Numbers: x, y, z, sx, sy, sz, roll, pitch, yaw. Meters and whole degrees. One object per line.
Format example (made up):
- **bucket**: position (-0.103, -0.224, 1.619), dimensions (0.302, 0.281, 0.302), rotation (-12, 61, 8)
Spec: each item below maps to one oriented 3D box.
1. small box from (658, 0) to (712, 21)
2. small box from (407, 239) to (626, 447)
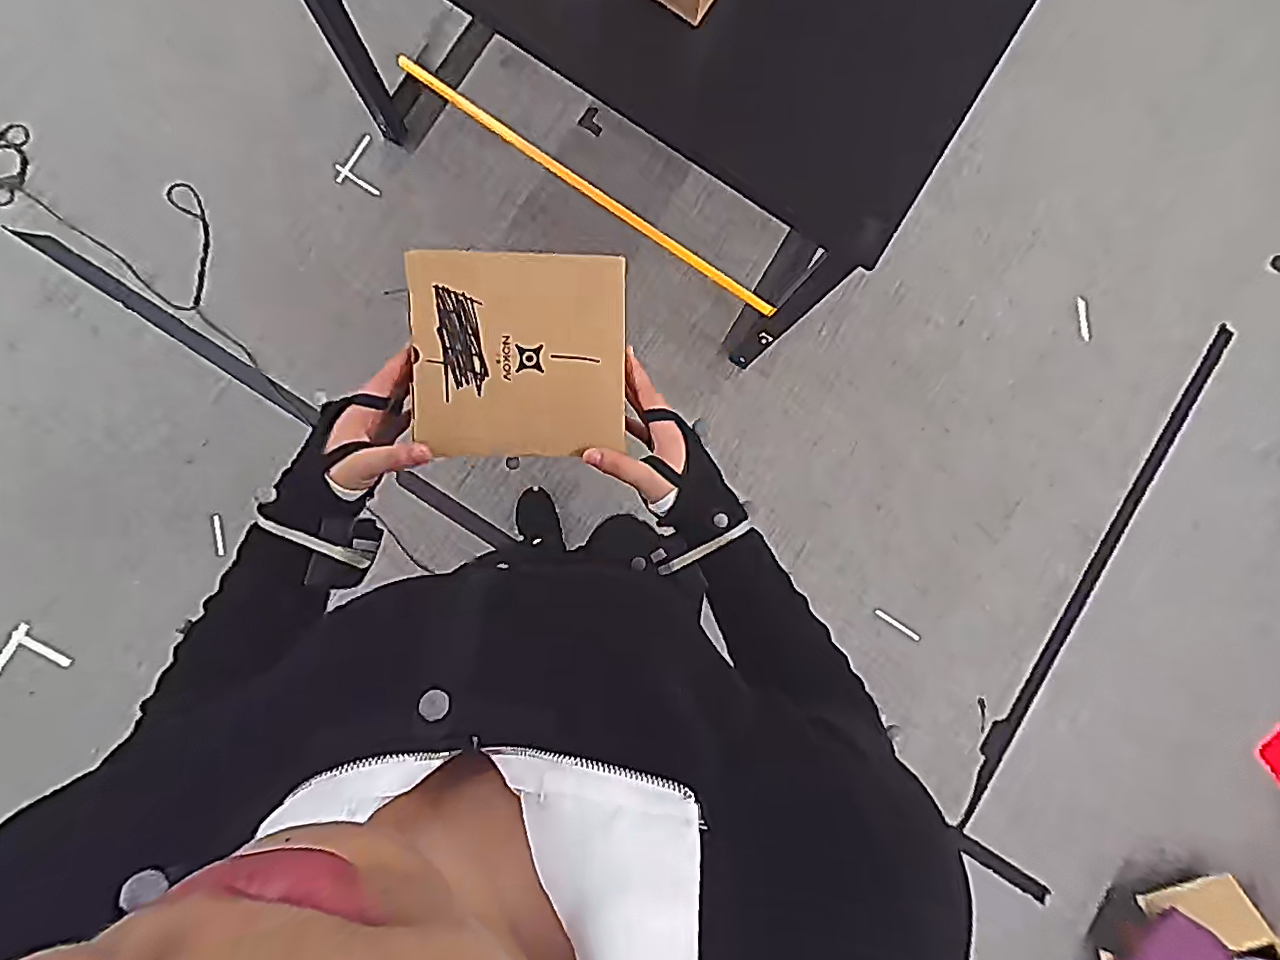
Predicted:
- **small box**: position (0.066, -0.796, 0.728), dimensions (0.168, 0.176, 0.179), rotation (32, 87, -2)
- **small box**: position (-0.107, -0.118, 0.521), dimensions (0.179, 0.176, 0.168), rotation (0, 97, -7)
